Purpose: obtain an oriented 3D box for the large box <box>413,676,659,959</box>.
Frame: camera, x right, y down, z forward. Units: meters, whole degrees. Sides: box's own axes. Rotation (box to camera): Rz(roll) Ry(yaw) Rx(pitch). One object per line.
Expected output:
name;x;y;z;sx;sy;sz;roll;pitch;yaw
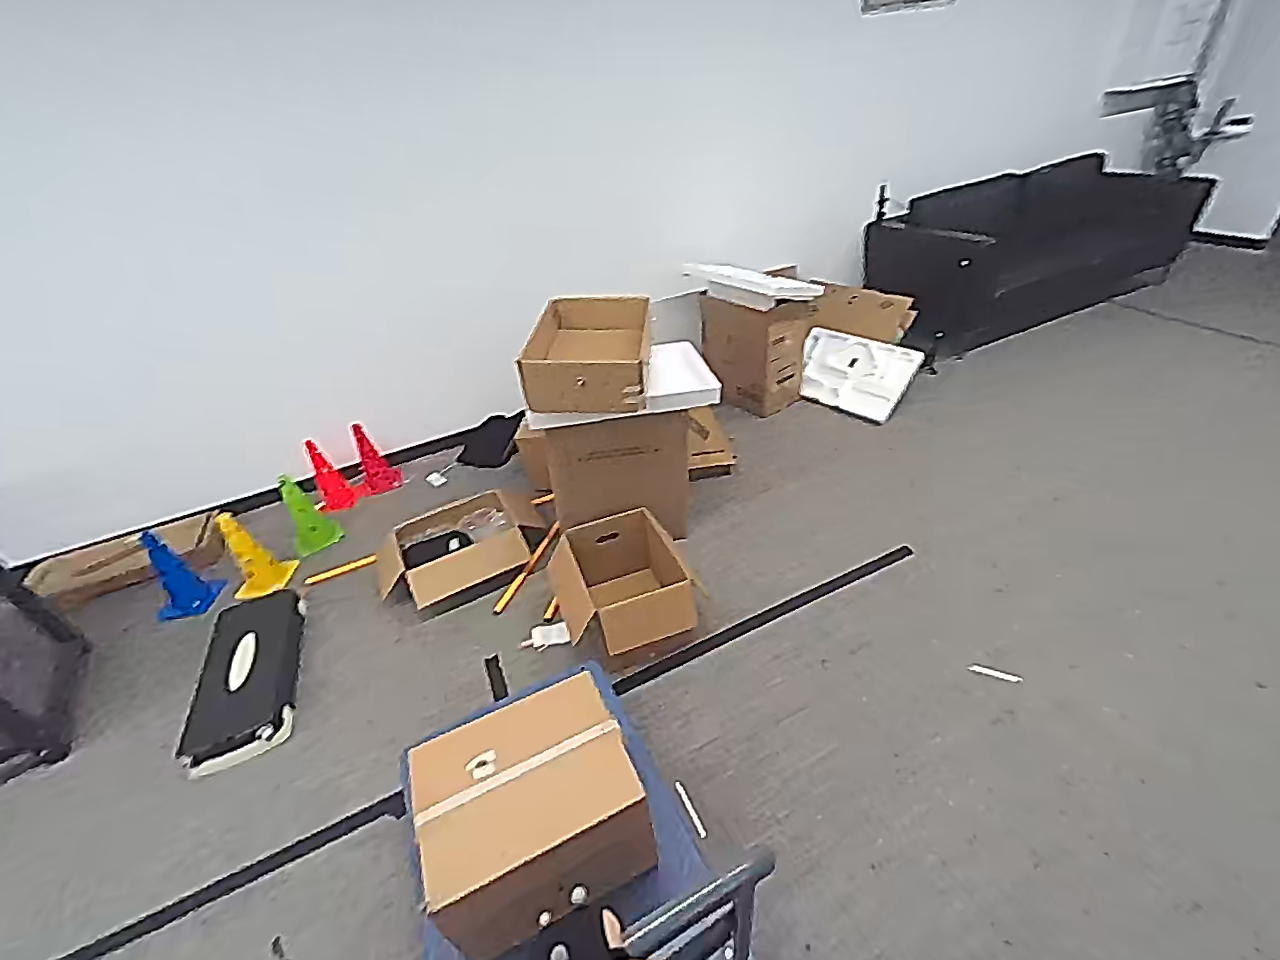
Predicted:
large box;-0.213;0.707;1.154;0.408;0.320;0.320;-21;36;-17
